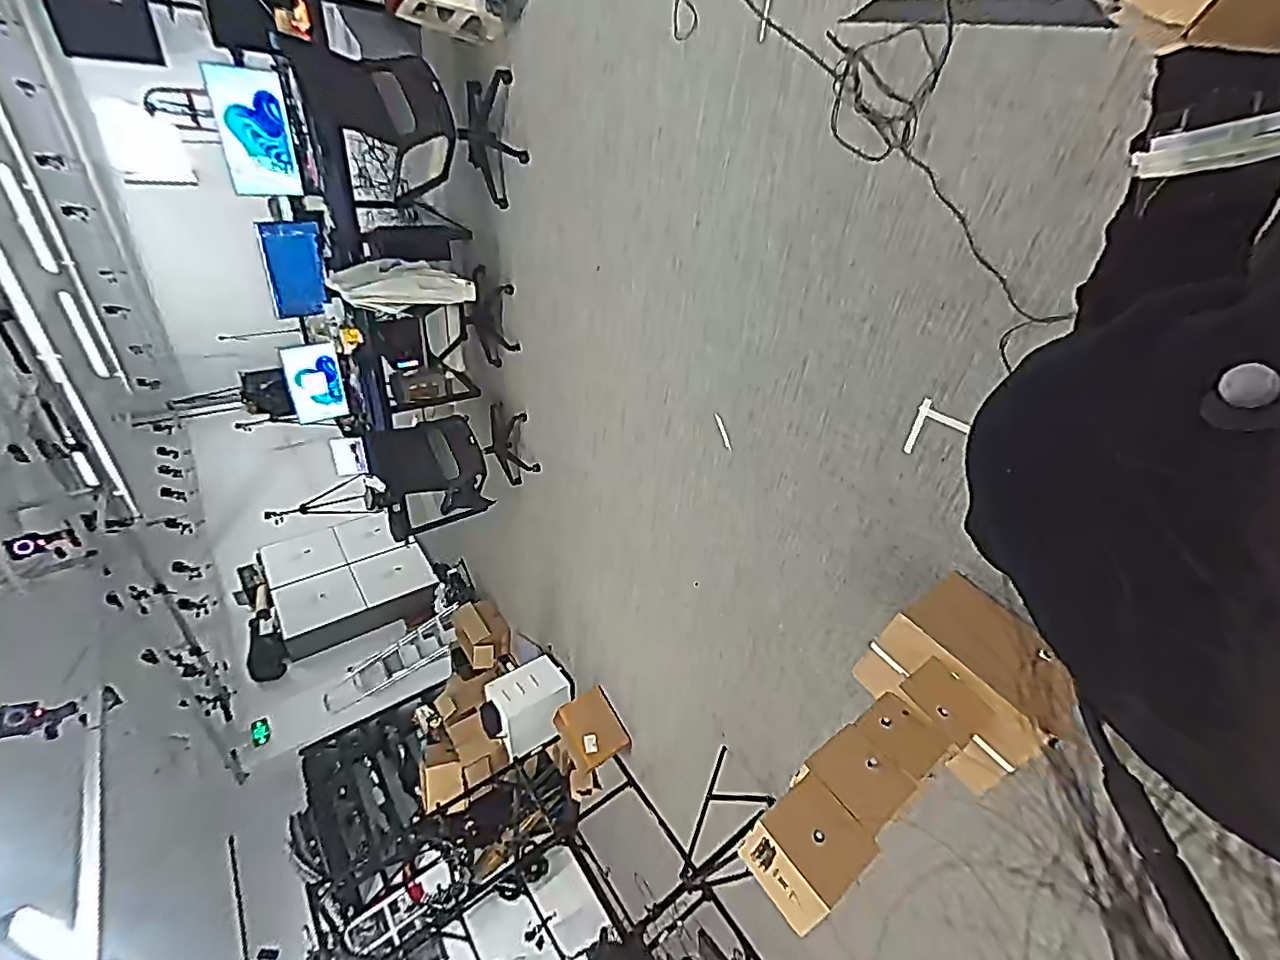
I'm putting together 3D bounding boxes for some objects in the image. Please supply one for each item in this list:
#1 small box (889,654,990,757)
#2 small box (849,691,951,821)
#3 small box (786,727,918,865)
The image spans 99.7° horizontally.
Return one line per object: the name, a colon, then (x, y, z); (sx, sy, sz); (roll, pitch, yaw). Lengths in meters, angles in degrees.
small box: (0.715, 0.570, 1.338); (0.179, 0.176, 0.168); (48, 140, 32)
small box: (0.588, 0.630, 1.256); (0.168, 0.176, 0.179); (35, 134, 43)
small box: (0.454, 0.670, 1.169); (0.179, 0.176, 0.168); (41, 137, 39)
